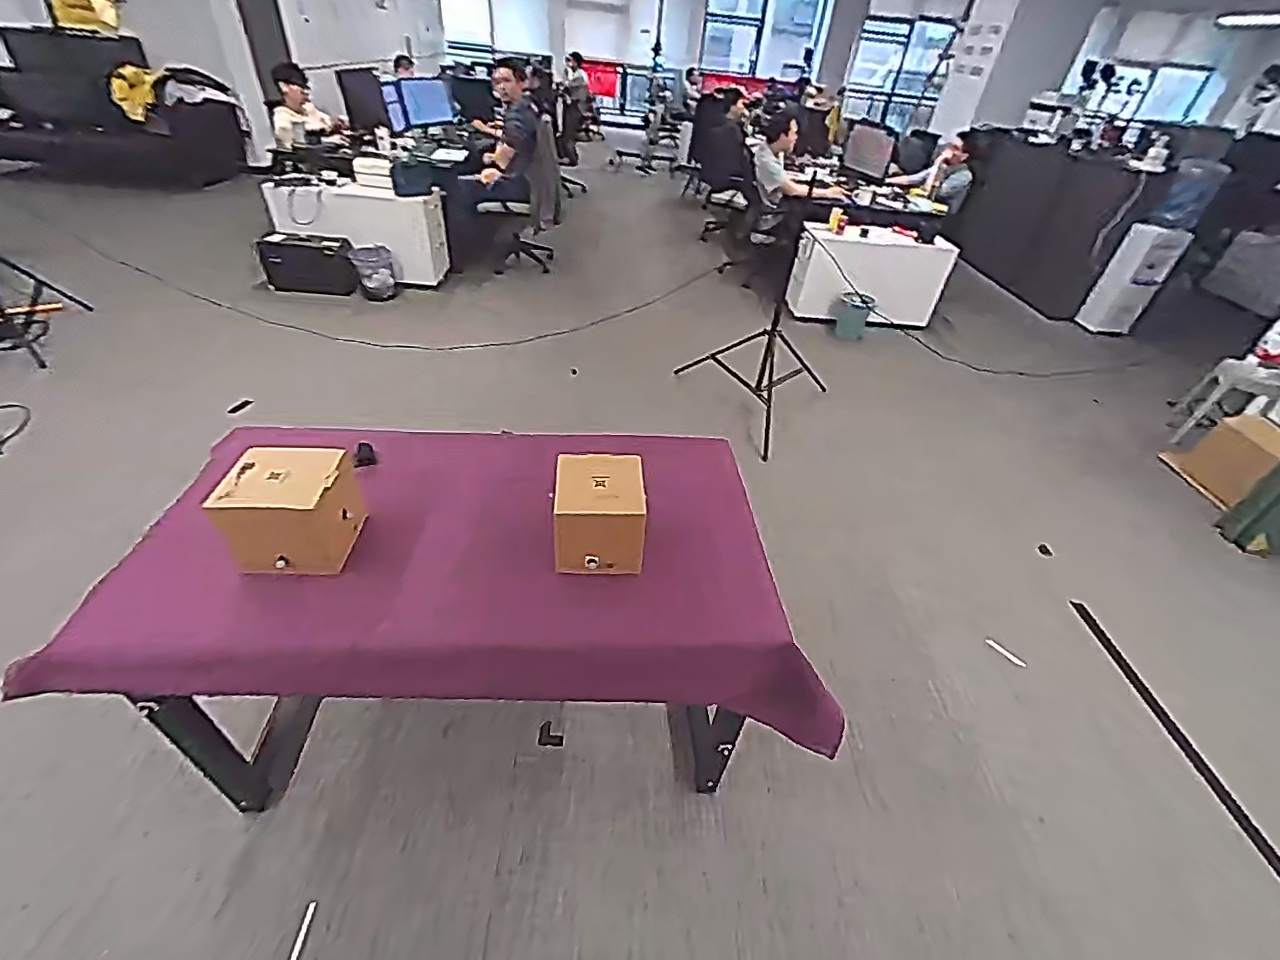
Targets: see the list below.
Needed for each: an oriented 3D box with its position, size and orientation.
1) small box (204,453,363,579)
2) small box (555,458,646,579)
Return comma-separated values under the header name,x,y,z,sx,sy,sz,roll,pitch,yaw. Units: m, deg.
name,x,y,z,sx,sy,sz,roll,pitch,yaw
small box,-0.639,0.069,1.000,0.179,0.176,0.168,2,39,-6
small box,-0.081,0.075,1.070,0.168,0.176,0.179,-1,40,-6
